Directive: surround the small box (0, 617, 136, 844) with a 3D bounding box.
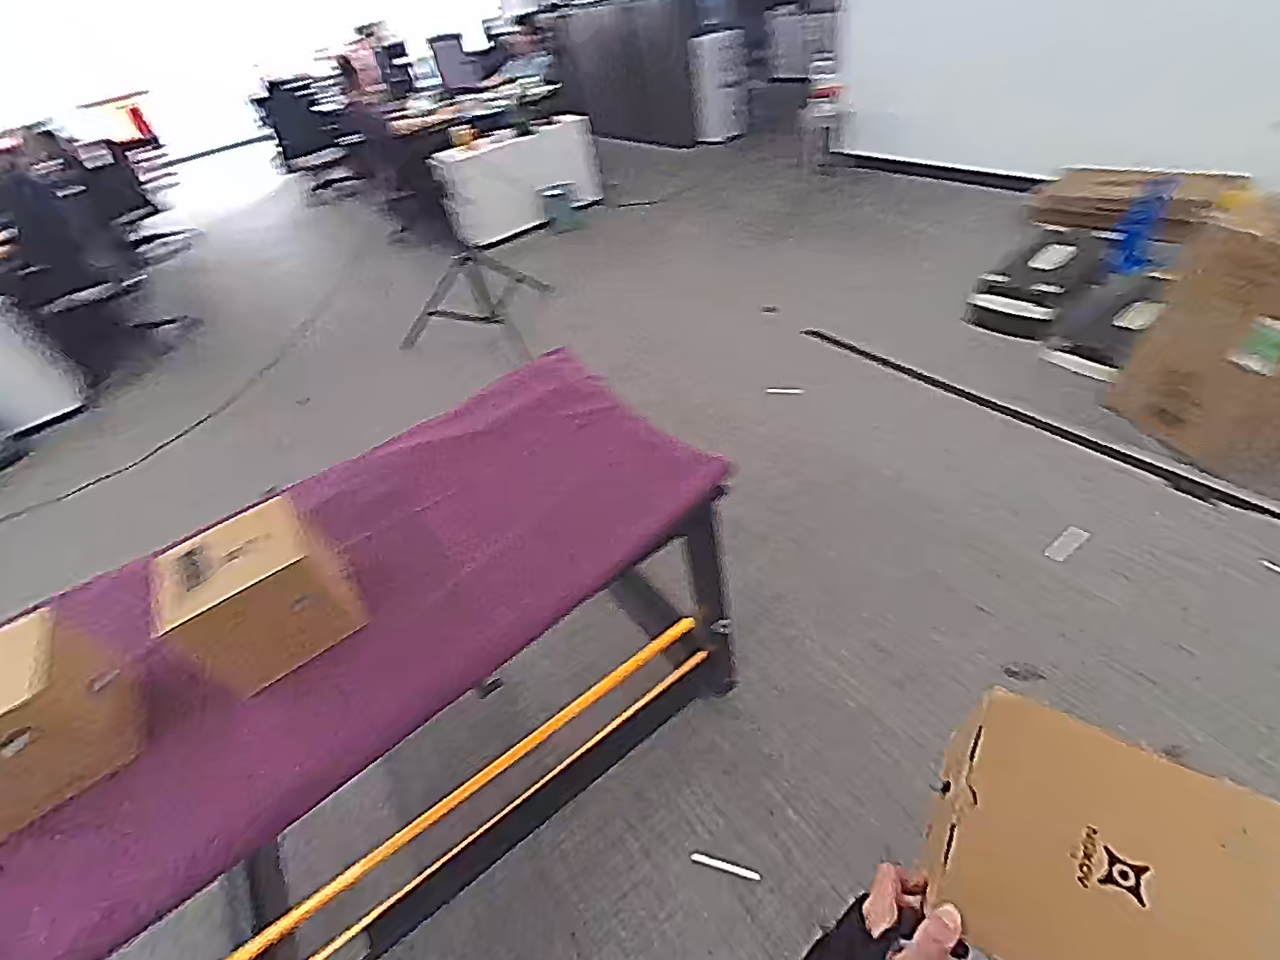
[{"bbox_3d":[-0.790,0.318,0.684,0.179,0.176,0.168,-33,46,-23],"label":"small box"}]
